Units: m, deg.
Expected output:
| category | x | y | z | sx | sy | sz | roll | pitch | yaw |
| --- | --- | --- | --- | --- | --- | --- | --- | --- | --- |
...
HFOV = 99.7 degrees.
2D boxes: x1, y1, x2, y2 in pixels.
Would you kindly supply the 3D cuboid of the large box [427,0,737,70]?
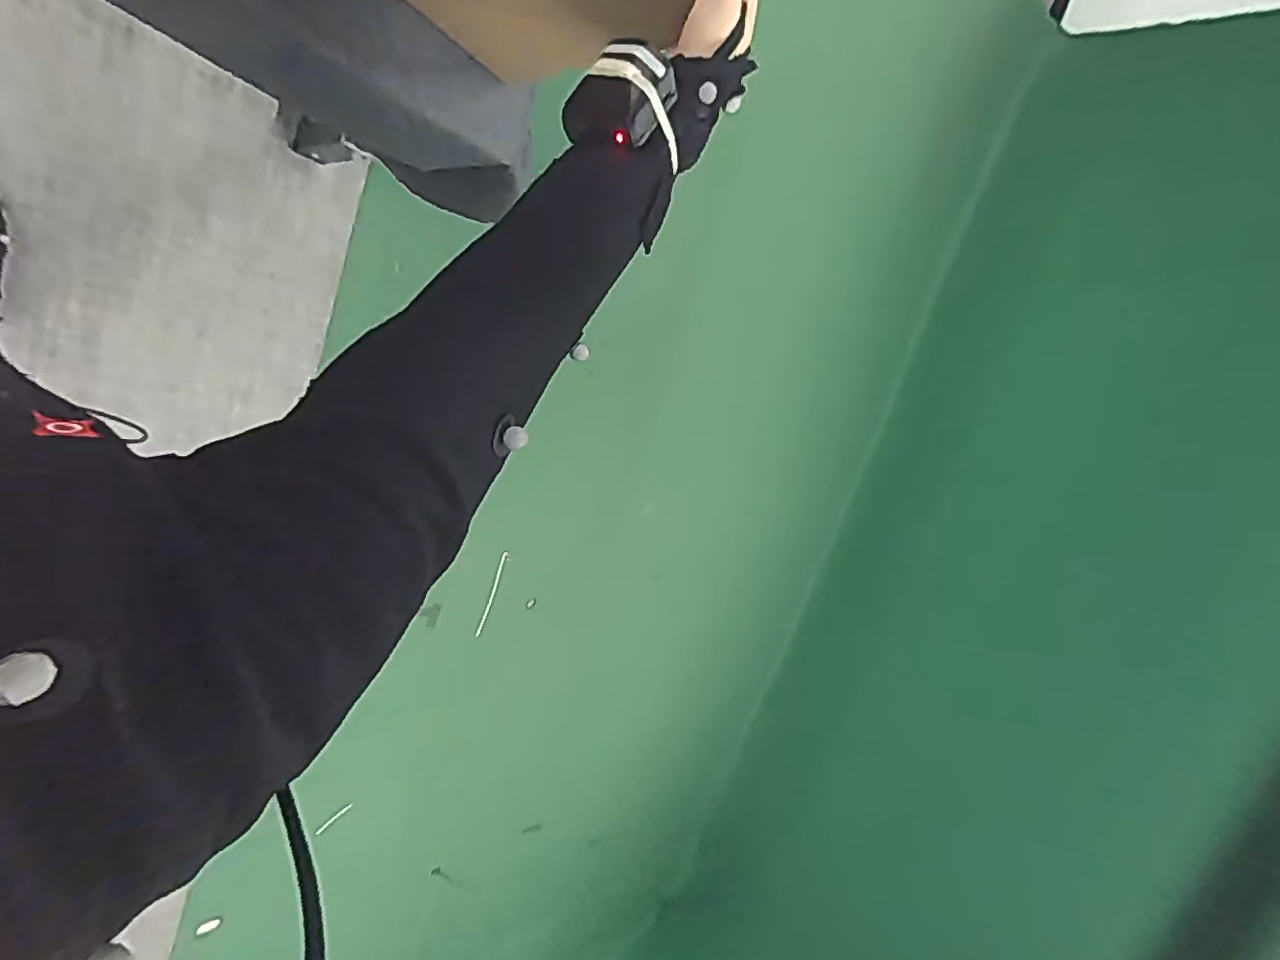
| category | x | y | z | sx | sy | sz | roll | pitch | yaw |
| --- | --- | --- | --- | --- | --- | --- | --- | --- | --- |
| large box | -0.111 | -0.556 | 0.328 | 0.408 | 0.320 | 0.320 | 12 | 103 | -50 |
